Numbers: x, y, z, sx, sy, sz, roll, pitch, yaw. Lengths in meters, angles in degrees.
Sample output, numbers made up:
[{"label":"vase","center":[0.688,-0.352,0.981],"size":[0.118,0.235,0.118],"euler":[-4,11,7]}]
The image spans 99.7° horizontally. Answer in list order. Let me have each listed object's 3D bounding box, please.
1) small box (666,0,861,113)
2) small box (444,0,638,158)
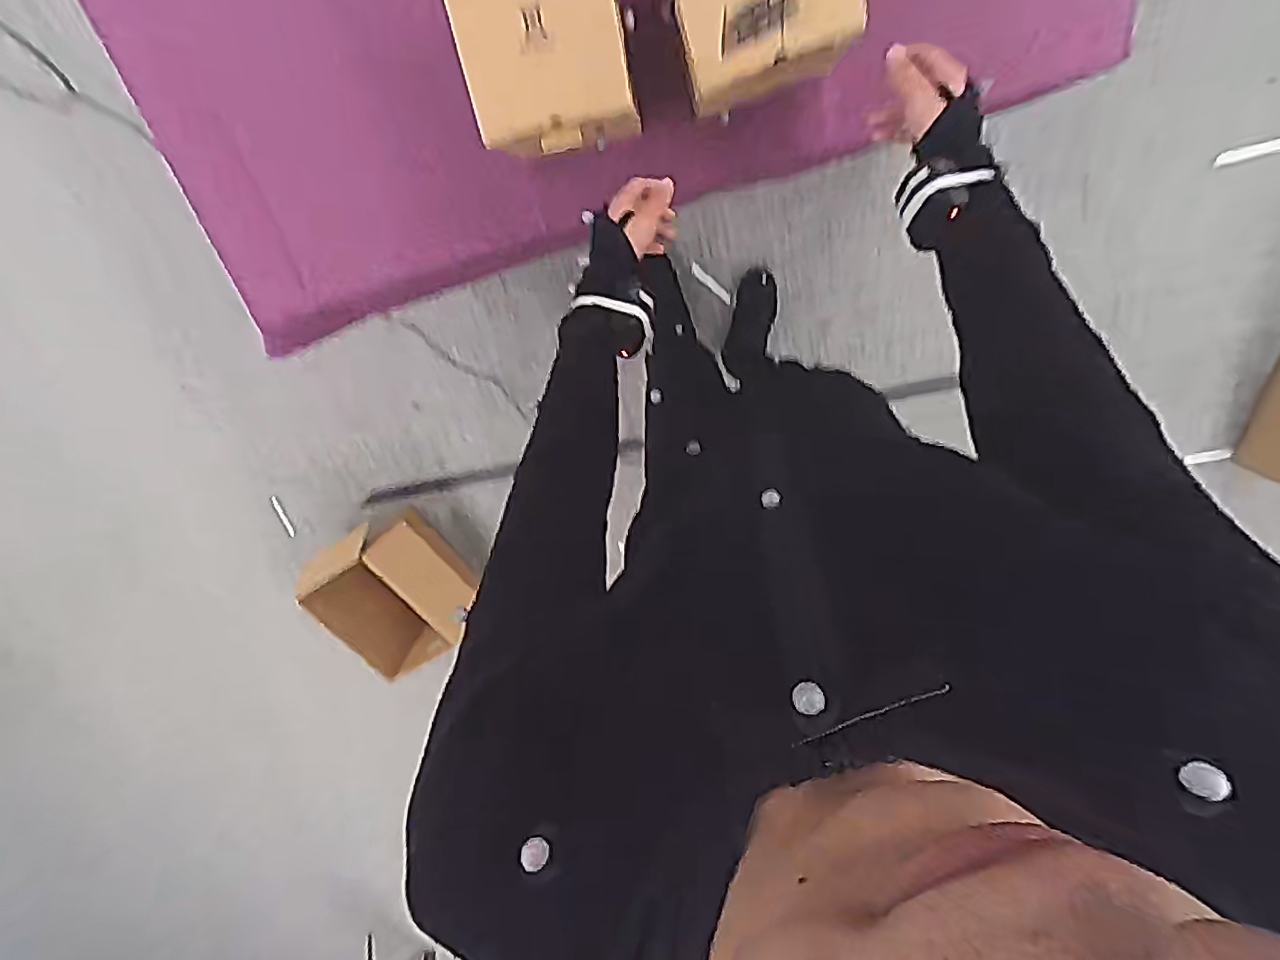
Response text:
[{"label":"small box","center":[0.115,-0.516,0.569],"size":[0.168,0.176,0.179],"euler":[-15,112,11]},{"label":"small box","center":[-0.099,-0.476,0.605],"size":[0.168,0.176,0.179],"euler":[-9,114,7]}]
